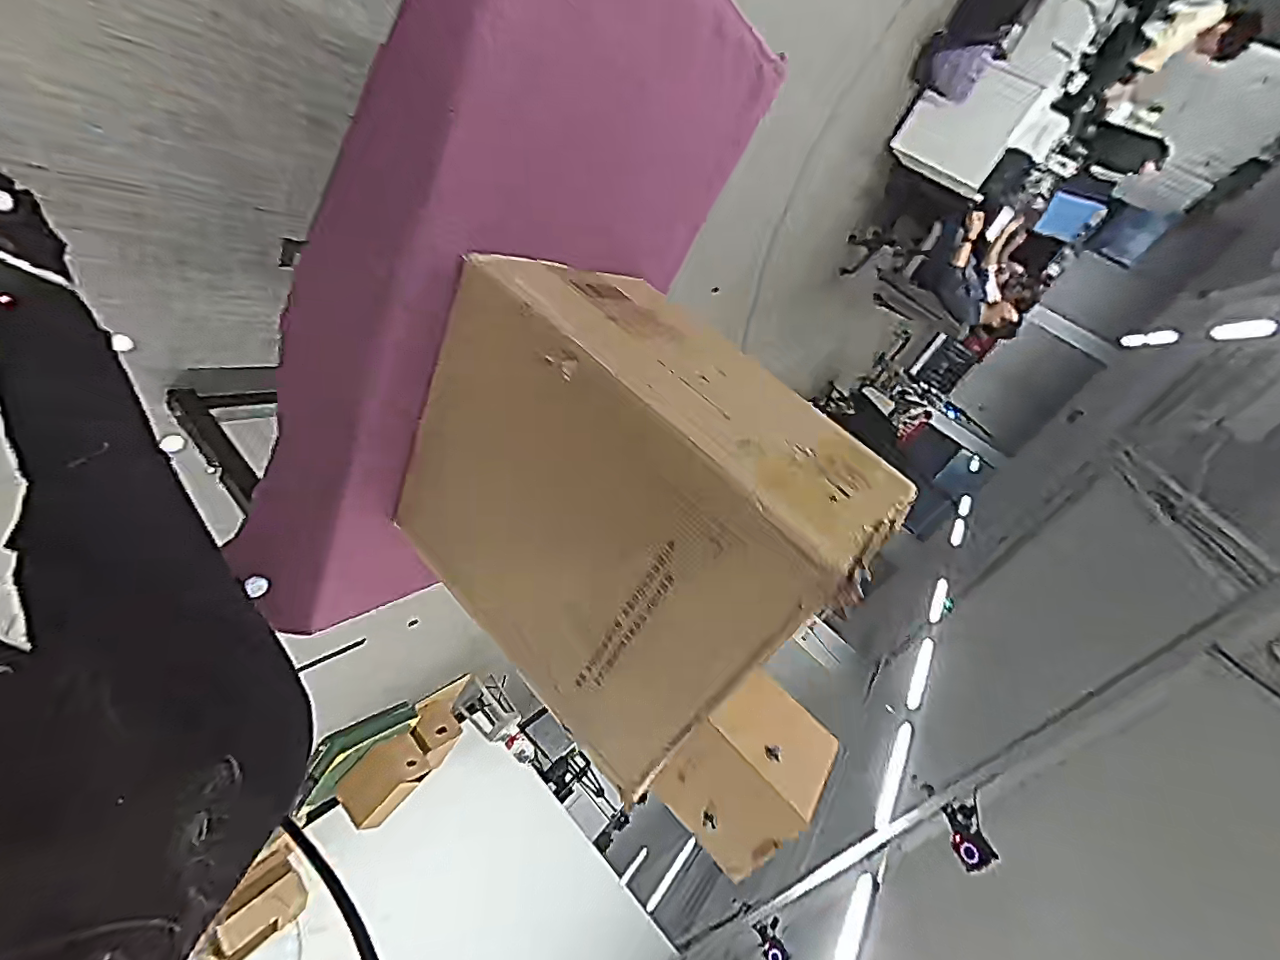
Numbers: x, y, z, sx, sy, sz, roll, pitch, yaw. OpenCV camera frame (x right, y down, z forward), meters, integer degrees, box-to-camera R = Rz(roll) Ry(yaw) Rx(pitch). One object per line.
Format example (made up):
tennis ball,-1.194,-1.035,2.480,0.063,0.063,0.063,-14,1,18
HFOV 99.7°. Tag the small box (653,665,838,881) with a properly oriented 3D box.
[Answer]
small box,0.149,0.407,0.777,0.179,0.176,0.168,-19,146,-57
